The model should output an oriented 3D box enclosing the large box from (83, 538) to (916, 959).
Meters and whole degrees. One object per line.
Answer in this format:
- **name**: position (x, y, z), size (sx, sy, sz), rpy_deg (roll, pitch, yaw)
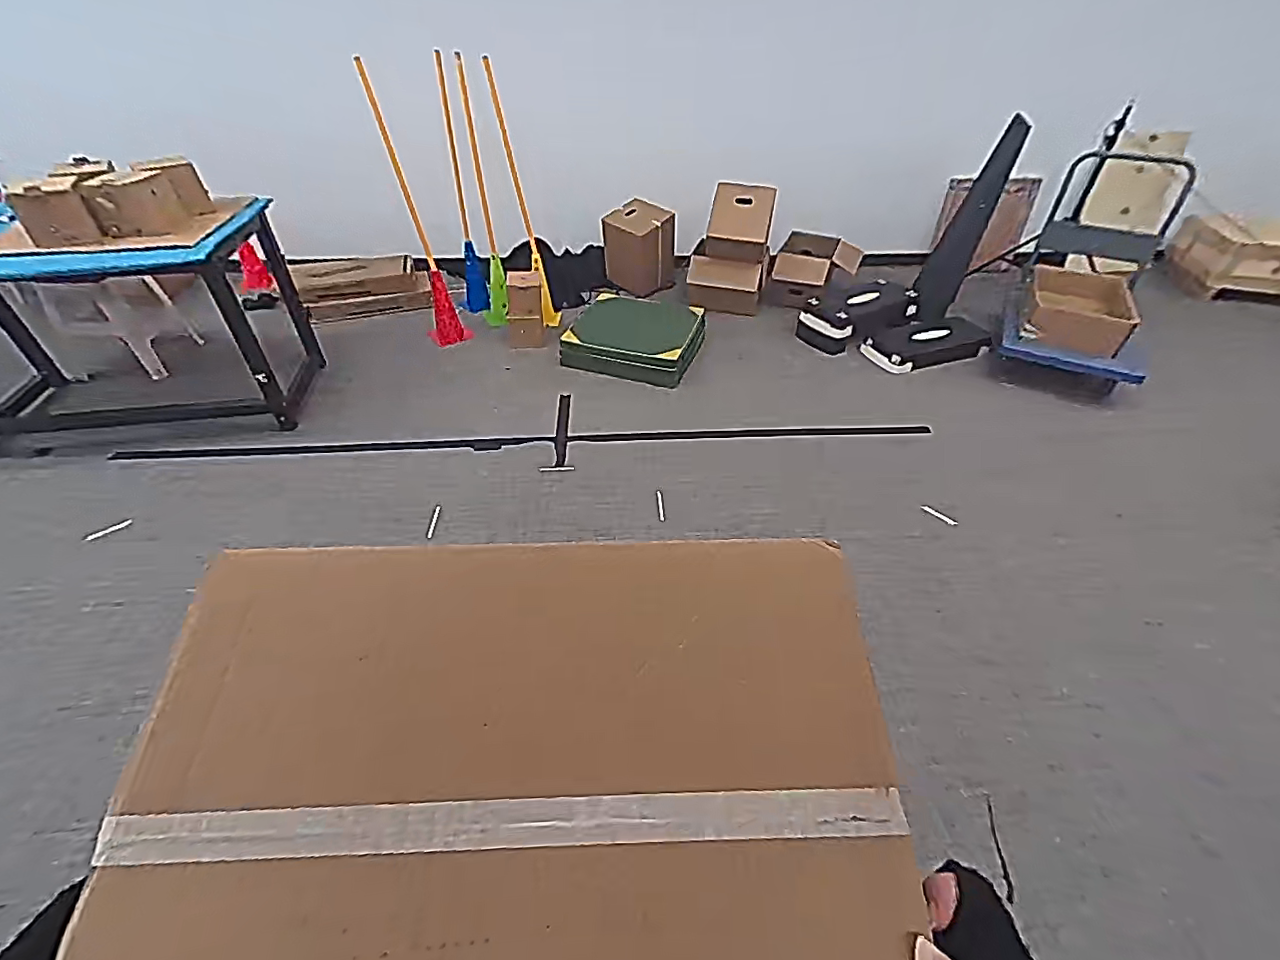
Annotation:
- **large box**: position (-0.070, 0.253, 0.418), size (0.408, 0.320, 0.320), rpy_deg (-1, 60, -2)
